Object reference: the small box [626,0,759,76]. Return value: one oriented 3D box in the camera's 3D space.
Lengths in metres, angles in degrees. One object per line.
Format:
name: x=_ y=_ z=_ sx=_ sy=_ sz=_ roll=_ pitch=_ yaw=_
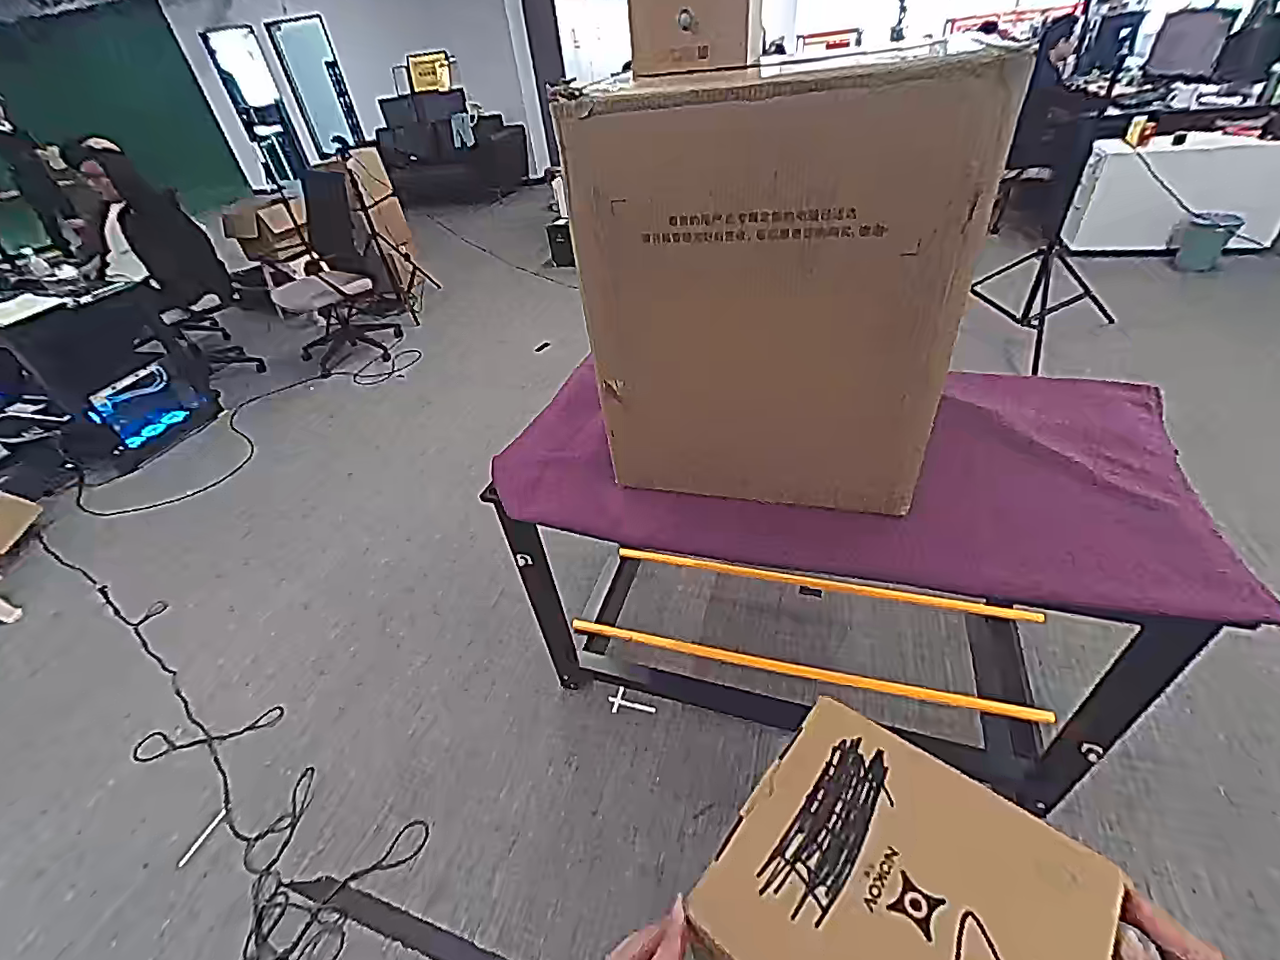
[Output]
small box: x=0.078 y=-0.684 z=0.764 sx=0.168 sy=0.176 sz=0.179 roll=6 pitch=41 yaw=16
